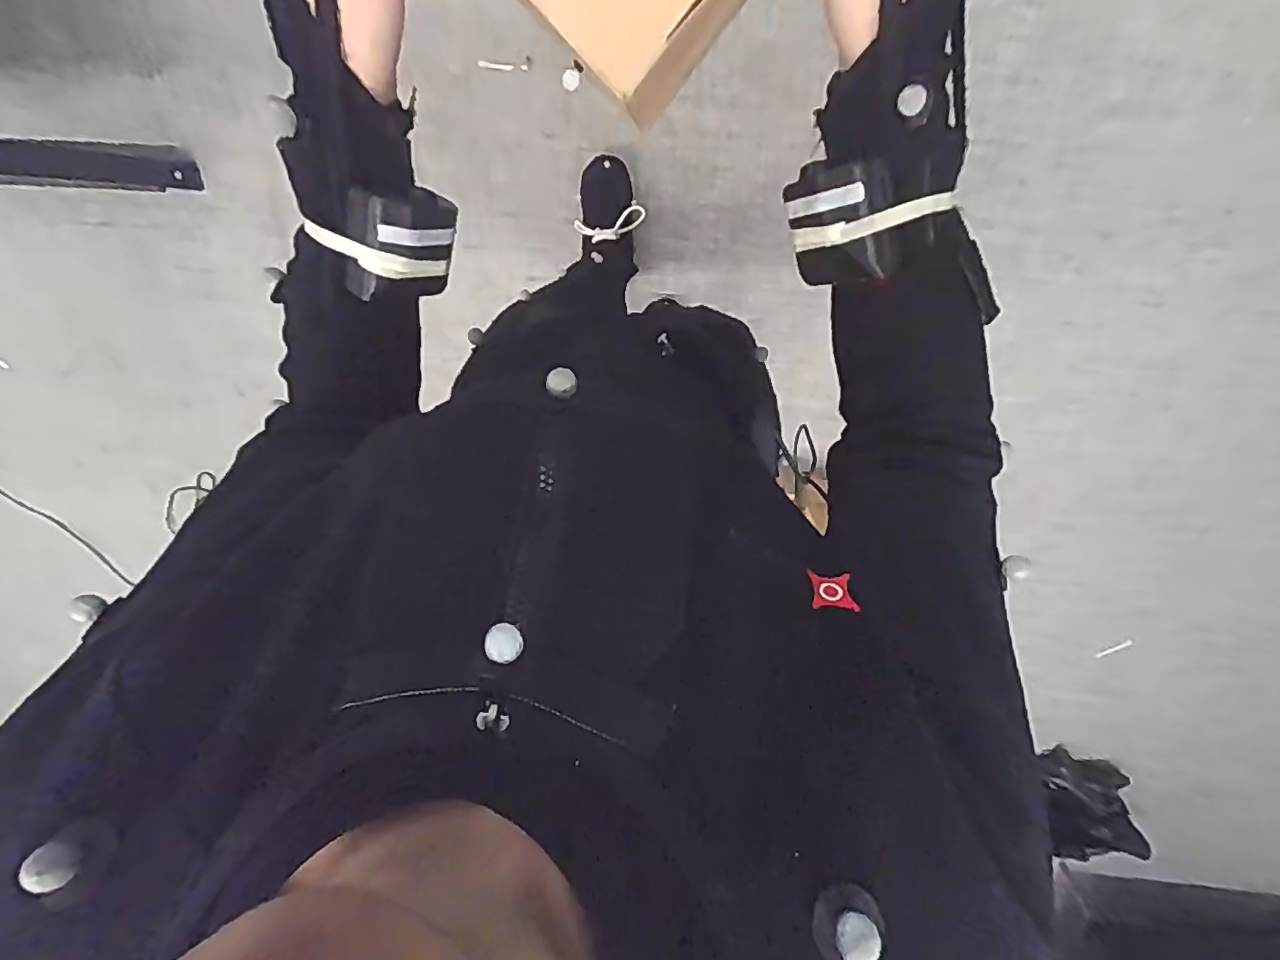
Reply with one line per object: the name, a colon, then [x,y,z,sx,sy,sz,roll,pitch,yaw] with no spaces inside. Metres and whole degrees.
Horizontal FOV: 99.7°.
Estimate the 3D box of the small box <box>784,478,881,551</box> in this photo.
small box: [0.471,0.109,1.355,0.168,0.176,0.179,8,114,0]
